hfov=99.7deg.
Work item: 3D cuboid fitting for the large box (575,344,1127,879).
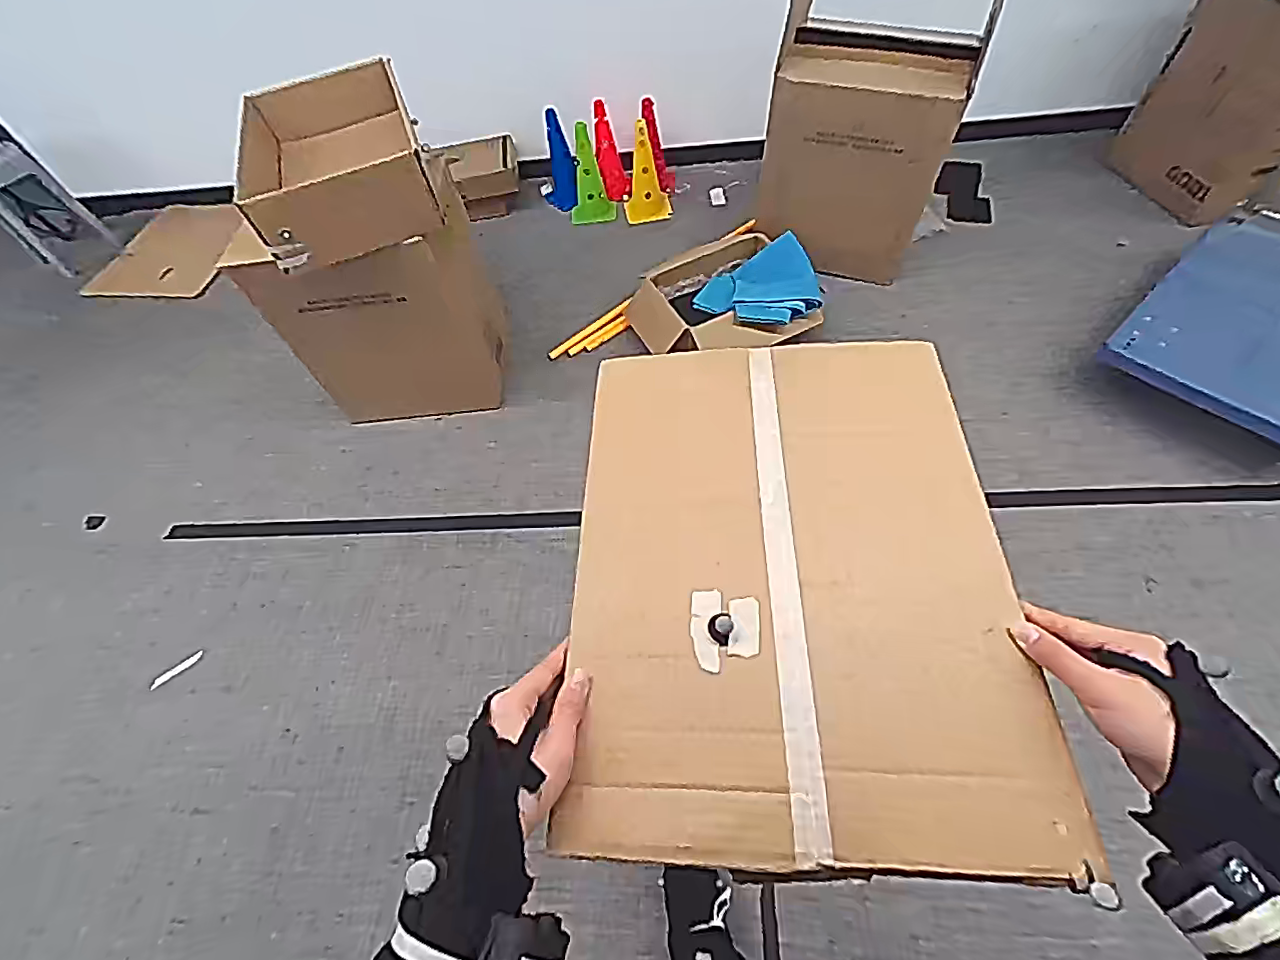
[{"bbox_3d":[0.130,0.125,0.533,0.320,0.320,0.408,-2,59,7],"label":"large box"}]
